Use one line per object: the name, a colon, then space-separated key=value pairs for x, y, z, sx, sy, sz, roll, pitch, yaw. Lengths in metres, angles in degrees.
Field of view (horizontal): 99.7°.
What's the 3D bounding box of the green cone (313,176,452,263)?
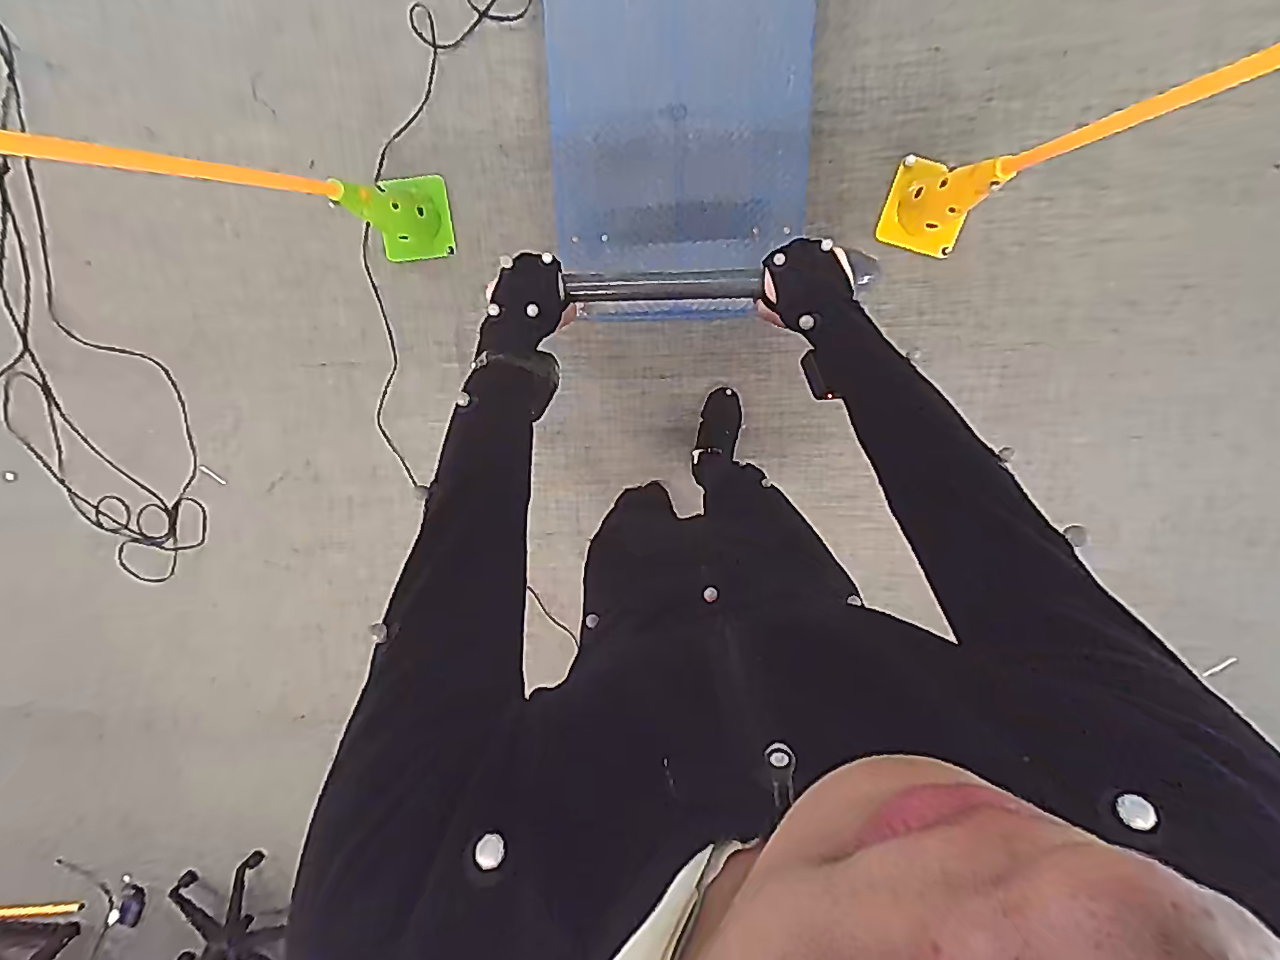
green cone: x=-0.629 y=-0.649 z=1.279 sx=0.202 sy=0.368 sz=0.200 roll=-4 pitch=105 yaw=8
